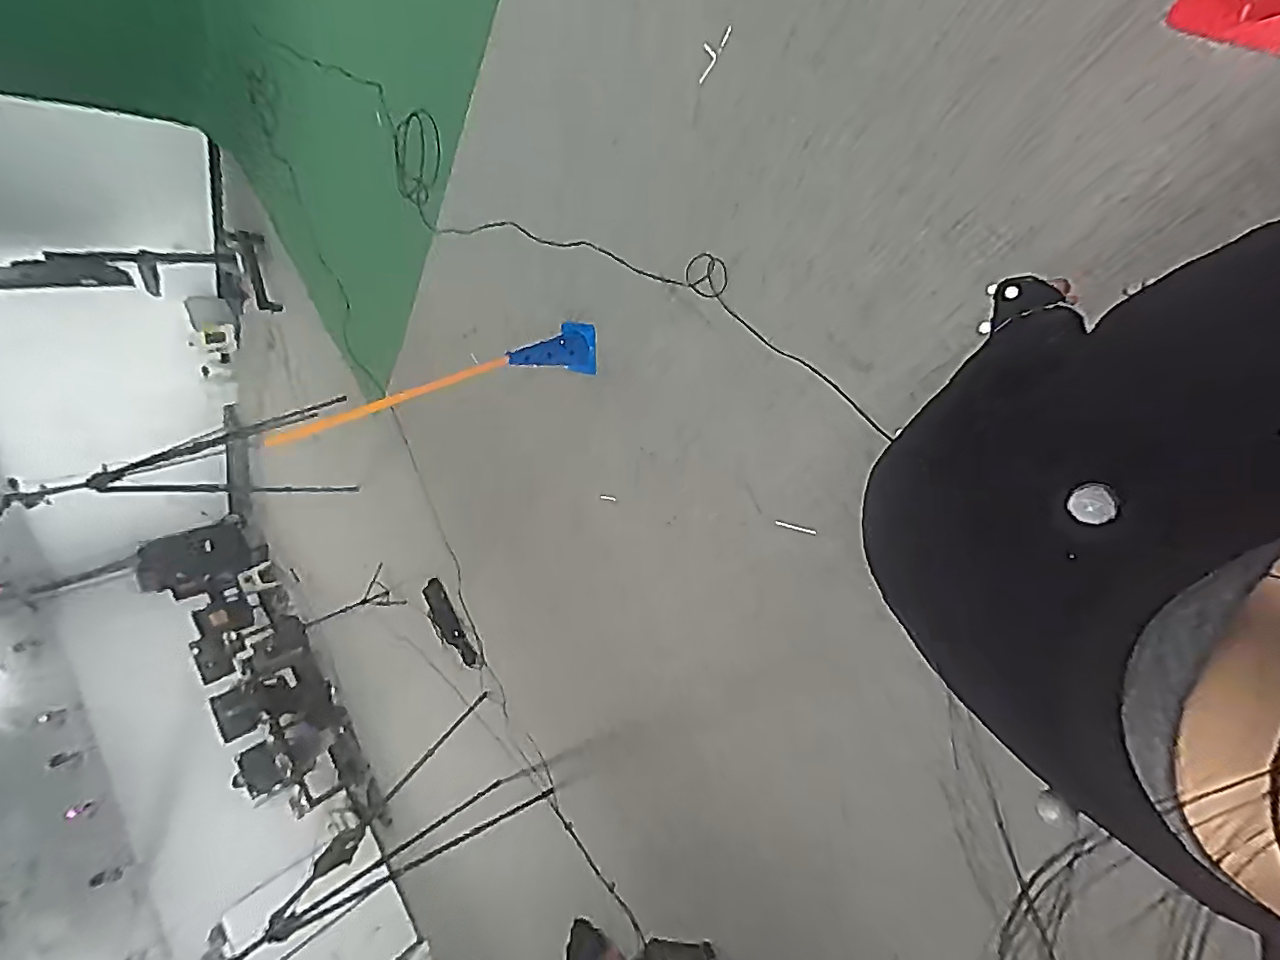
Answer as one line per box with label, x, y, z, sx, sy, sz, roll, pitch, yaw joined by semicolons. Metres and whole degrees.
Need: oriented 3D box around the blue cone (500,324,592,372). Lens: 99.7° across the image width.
blue cone;-0.376;-0.493;2.111;0.192;0.380;0.193;16;118;39
